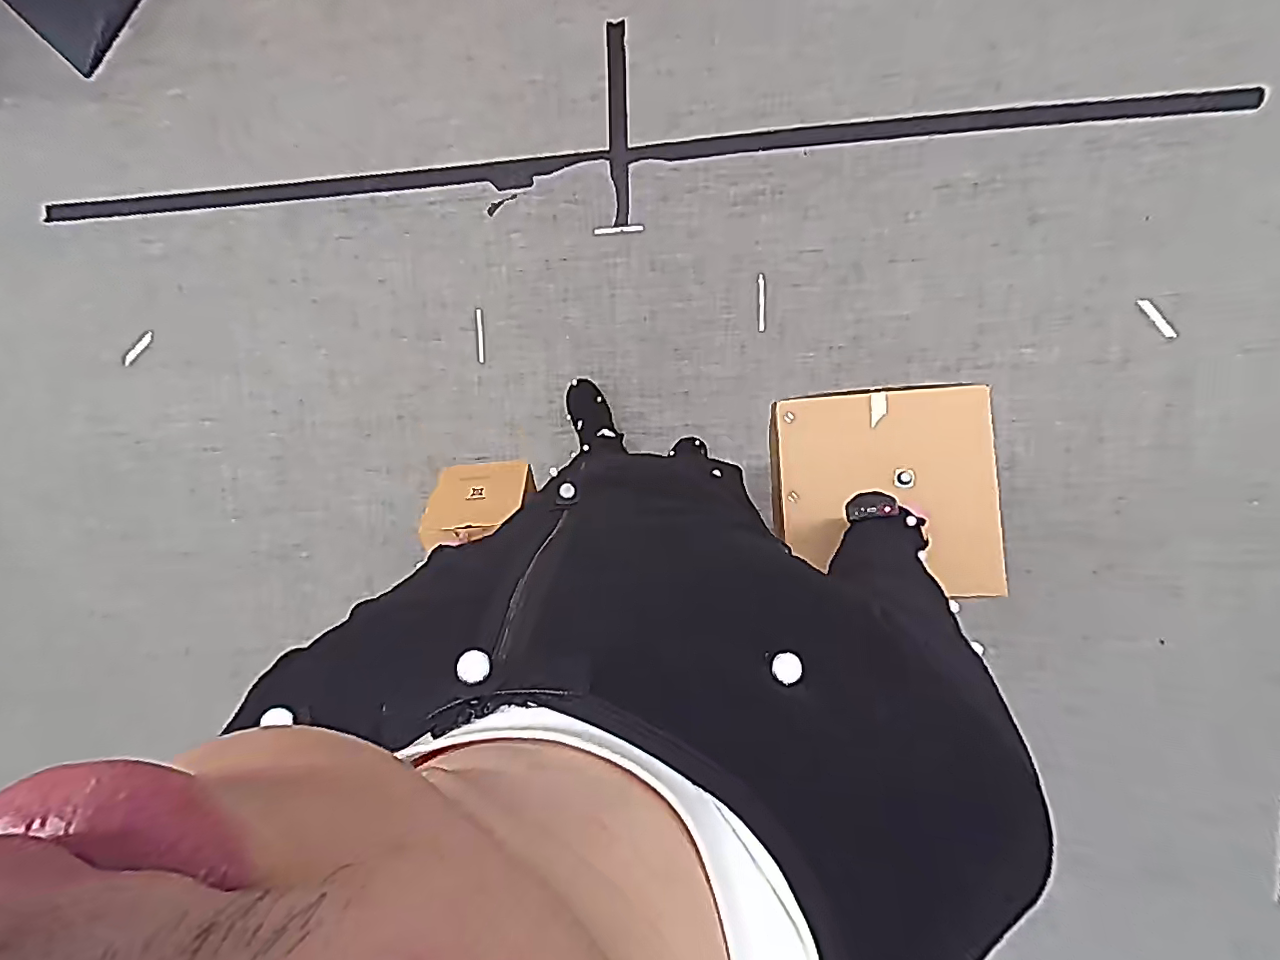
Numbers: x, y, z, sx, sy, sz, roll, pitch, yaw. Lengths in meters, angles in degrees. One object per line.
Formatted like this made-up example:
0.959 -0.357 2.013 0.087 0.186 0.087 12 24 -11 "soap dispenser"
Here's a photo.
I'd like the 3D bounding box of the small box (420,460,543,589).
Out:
-0.280 0.087 1.002 0.168 0.179 0.176 -5 127 0 "small box"
